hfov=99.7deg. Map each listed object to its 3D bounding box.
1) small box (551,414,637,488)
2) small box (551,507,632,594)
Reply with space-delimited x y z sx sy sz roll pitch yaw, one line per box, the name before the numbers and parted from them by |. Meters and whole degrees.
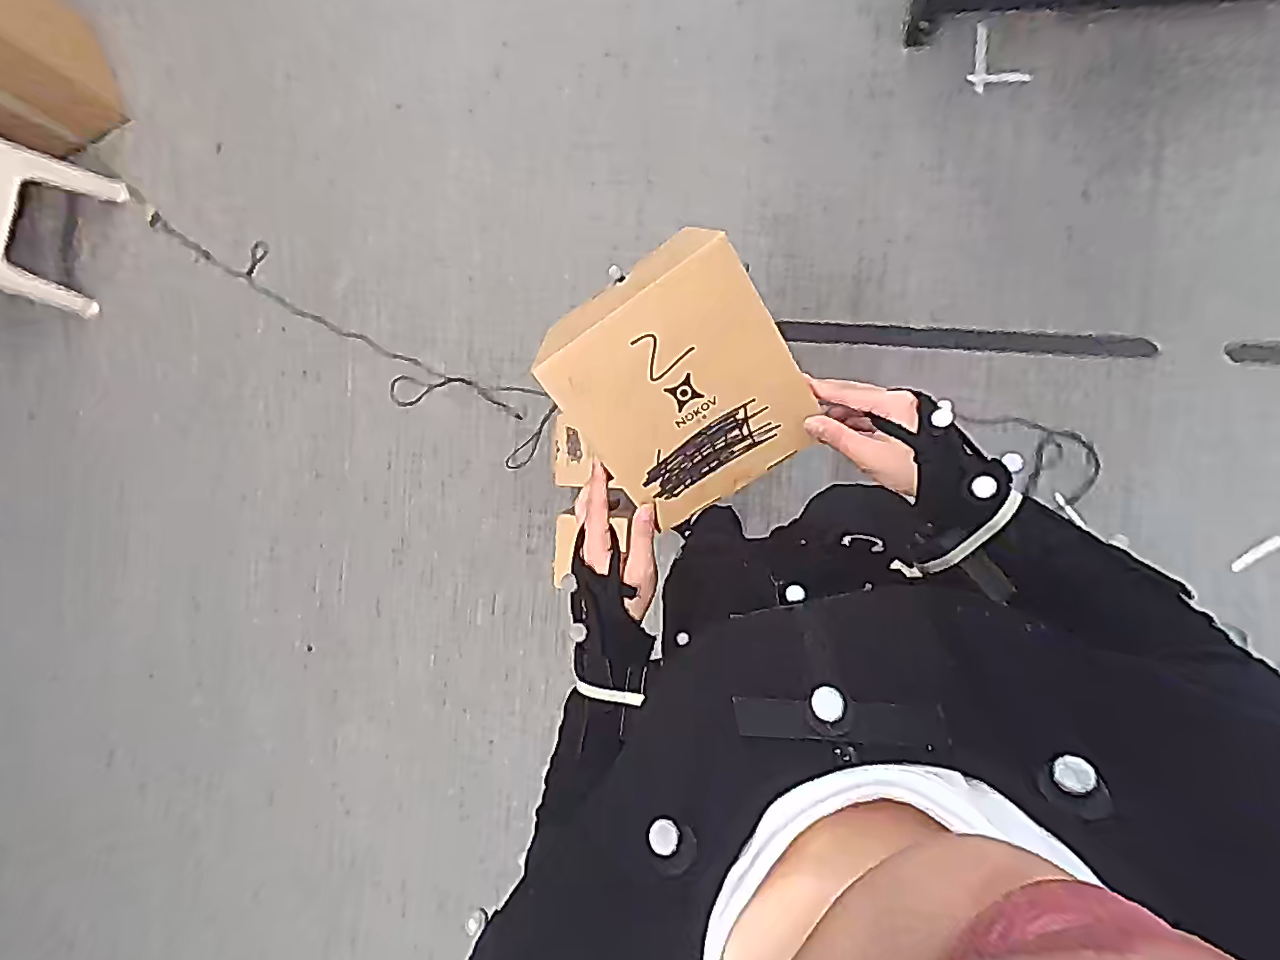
small box | -0.106 -0.067 1.302 0.179 0.176 0.168 2 92 5
small box | -0.112 0.164 1.311 0.168 0.176 0.179 4 93 6
